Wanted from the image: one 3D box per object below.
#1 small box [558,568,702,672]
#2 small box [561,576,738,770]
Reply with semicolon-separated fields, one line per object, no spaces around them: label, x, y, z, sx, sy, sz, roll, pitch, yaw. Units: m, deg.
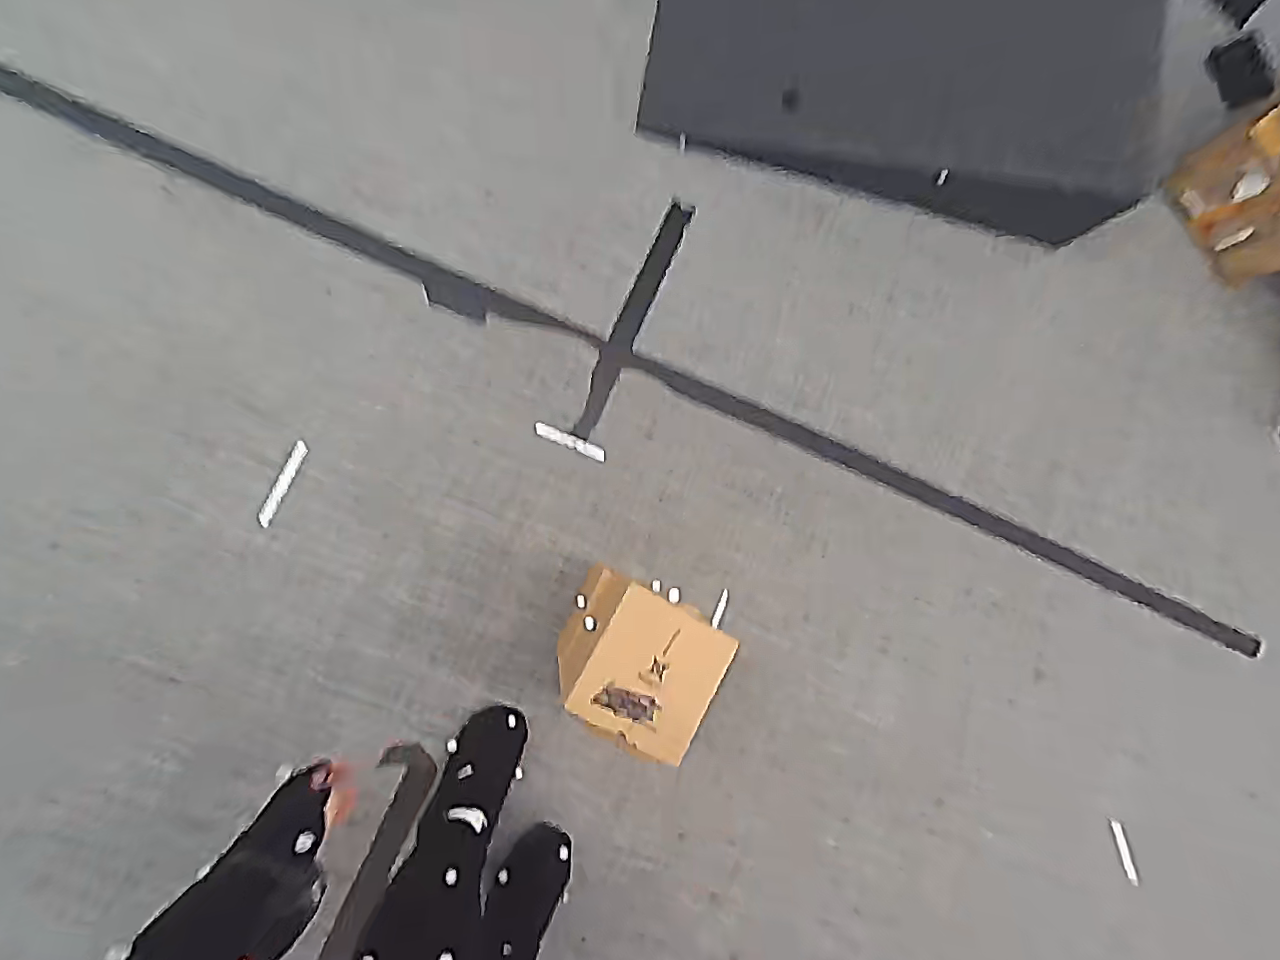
small box;-0.025;0.258;0.913;0.179;0.176;0.168;27;81;-8
small box;0.004;0.252;0.751;0.168;0.176;0.179;31;80;-6
